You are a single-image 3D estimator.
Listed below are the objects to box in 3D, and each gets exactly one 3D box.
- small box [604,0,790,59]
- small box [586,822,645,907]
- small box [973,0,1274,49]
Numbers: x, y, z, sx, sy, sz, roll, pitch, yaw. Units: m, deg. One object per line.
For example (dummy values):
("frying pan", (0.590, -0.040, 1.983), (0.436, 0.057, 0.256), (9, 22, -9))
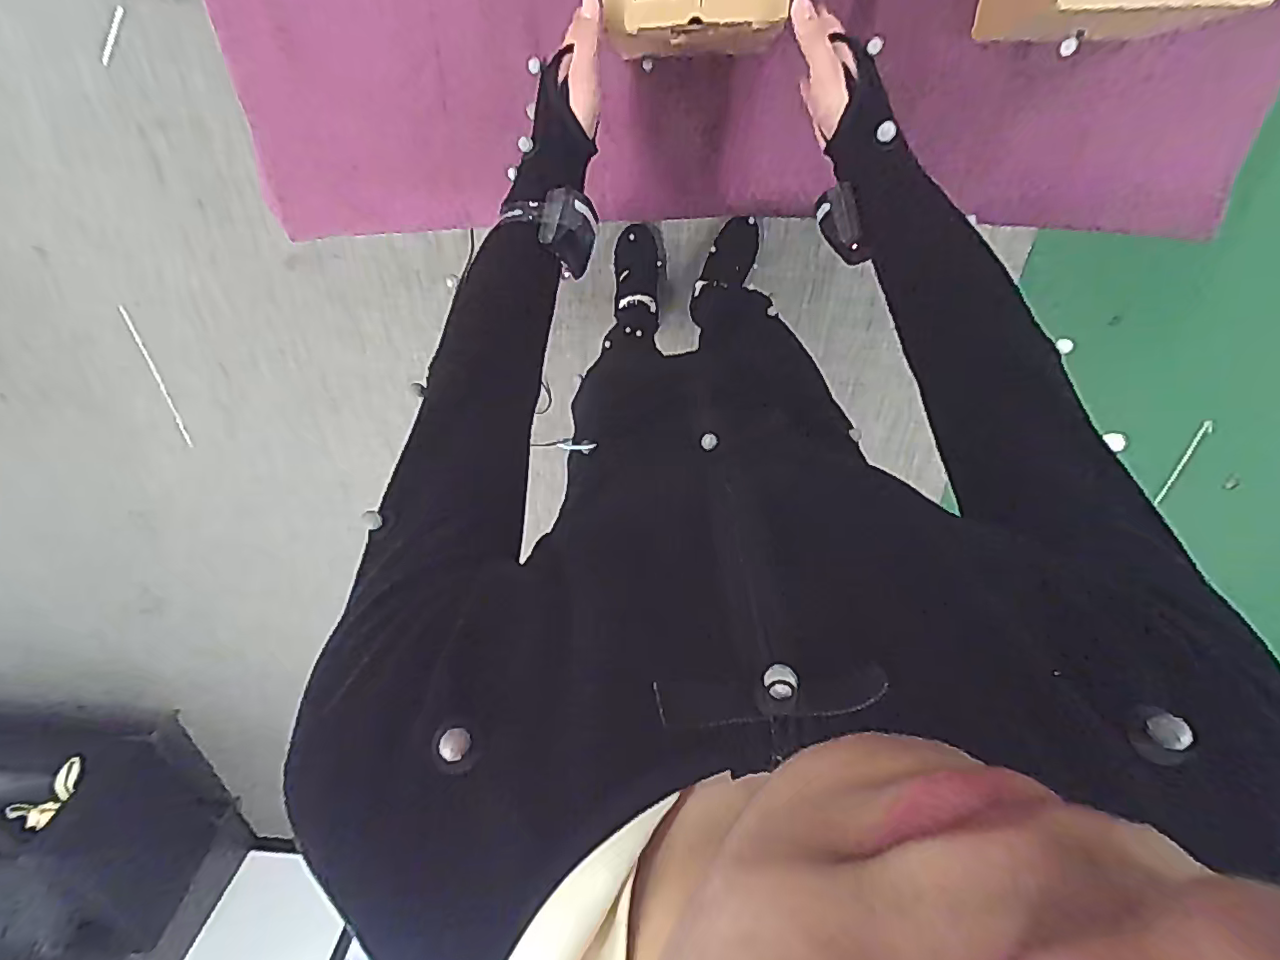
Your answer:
("small box", (0.054, -0.513, 0.507), (0.168, 0.176, 0.179), (0, 120, 4))
("small box", (-0.077, 1.245, 1.755), (0.179, 0.176, 0.168), (6, 120, 3))
("small box", (0.444, -0.503, 0.482), (0.179, 0.176, 0.168), (2, 121, 3))
